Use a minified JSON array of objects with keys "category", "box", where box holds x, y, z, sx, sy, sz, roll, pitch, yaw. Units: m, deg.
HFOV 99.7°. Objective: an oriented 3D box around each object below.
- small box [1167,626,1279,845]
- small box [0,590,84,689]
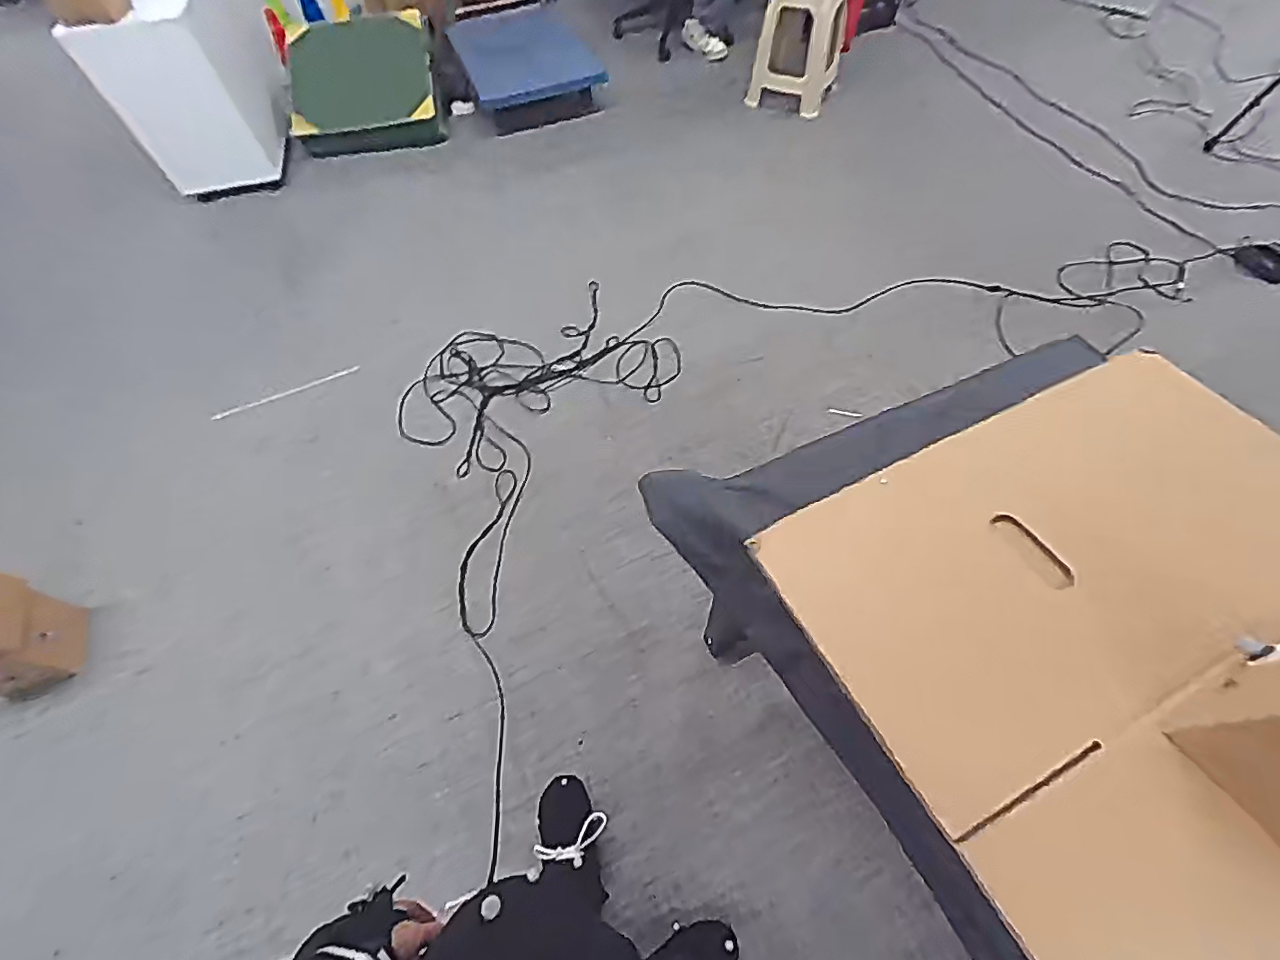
[{"category":"small box","box":[0.543,0.190,0.365,0.168,0.176,0.179,-29,63,-18]},{"category":"small box","box":[-1.482,0.381,1.278,0.168,0.176,0.179,-19,62,-9]}]
